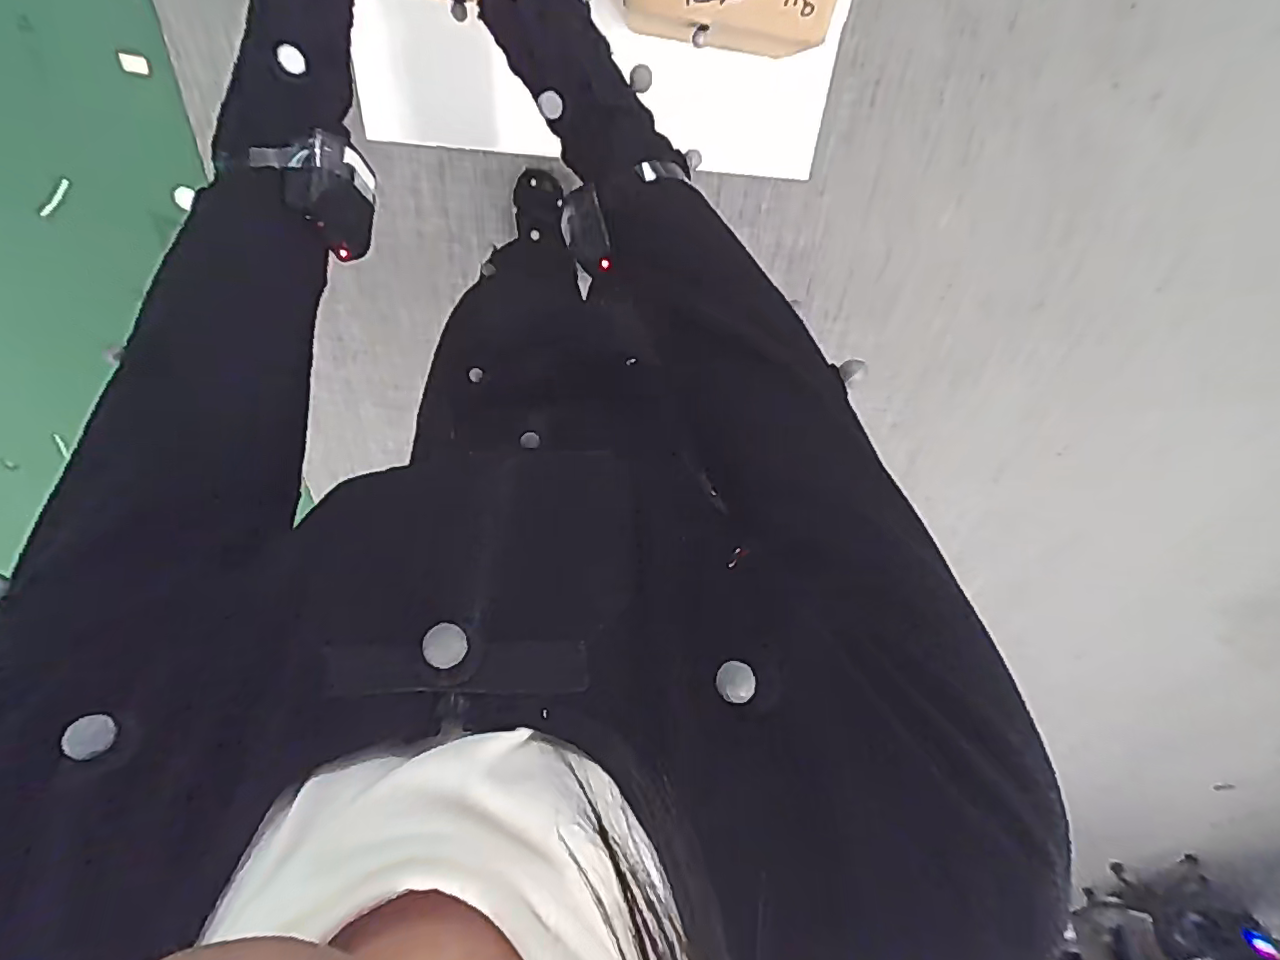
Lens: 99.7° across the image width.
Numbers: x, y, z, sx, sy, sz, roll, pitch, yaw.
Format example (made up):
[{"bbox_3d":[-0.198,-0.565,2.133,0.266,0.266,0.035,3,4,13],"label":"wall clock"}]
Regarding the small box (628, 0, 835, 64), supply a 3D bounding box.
[{"bbox_3d":[0.082,-0.476,0.452,0.168,0.176,0.179,8,124,-4],"label":"small box"}]
